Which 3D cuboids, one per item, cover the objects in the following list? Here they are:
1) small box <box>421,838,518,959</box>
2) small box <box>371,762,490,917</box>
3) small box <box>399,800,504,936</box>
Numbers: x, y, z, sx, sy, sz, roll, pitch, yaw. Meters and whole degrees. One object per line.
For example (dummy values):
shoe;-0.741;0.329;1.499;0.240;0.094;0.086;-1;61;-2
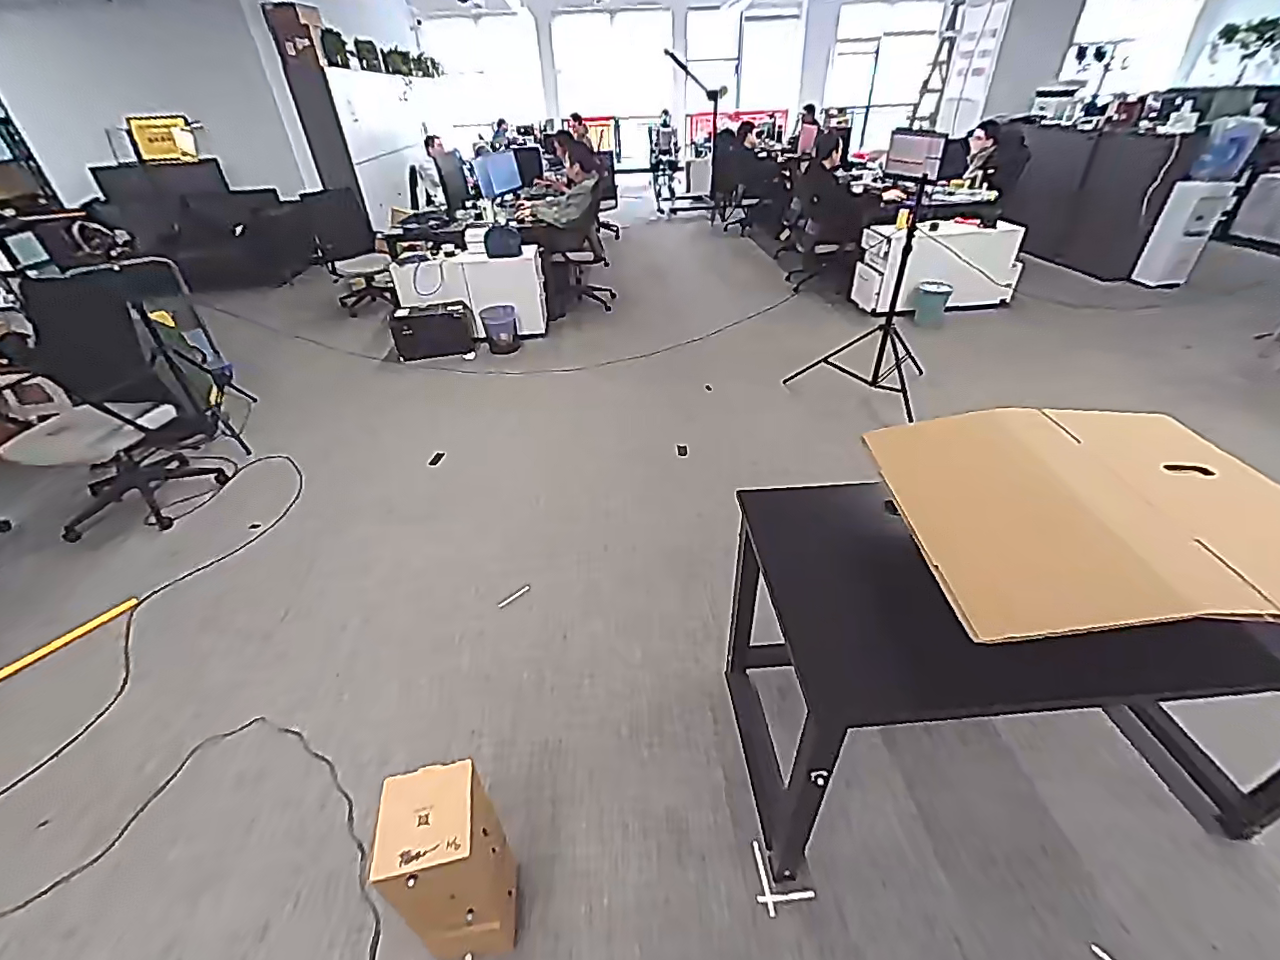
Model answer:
small box;-0.370;0.944;1.211;0.168;0.176;0.179;-7;36;-5
small box;-0.384;0.677;1.024;0.168;0.176;0.179;-9;35;-10
small box;-0.379;0.808;1.122;0.168;0.176;0.179;-8;34;-8
